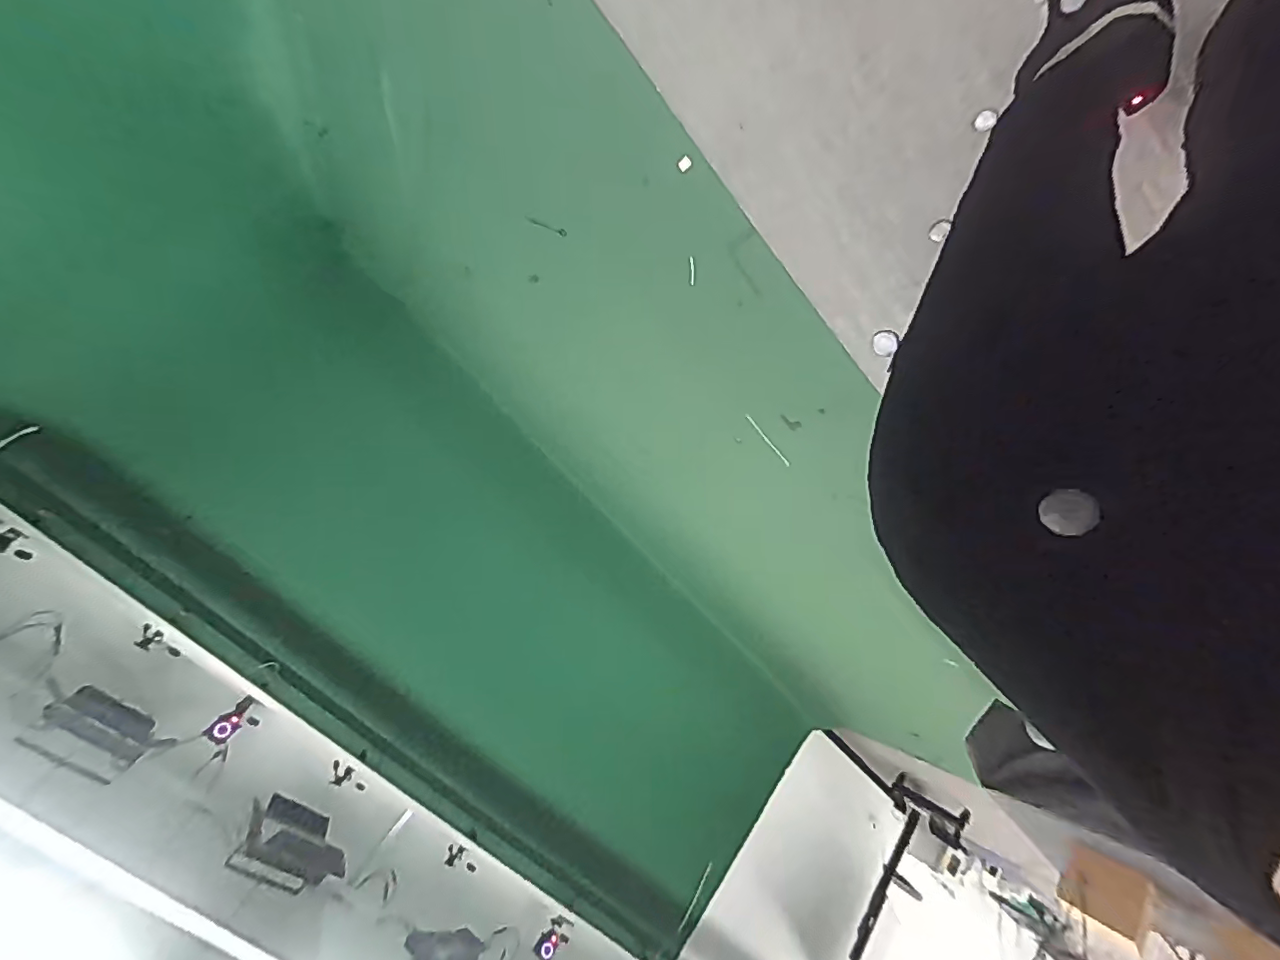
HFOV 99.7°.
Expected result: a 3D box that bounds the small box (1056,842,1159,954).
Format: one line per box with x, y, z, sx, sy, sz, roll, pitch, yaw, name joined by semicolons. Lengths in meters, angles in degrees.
1.307;1.153;1.509;0.179;0.176;0.168;8;143;54;small box
